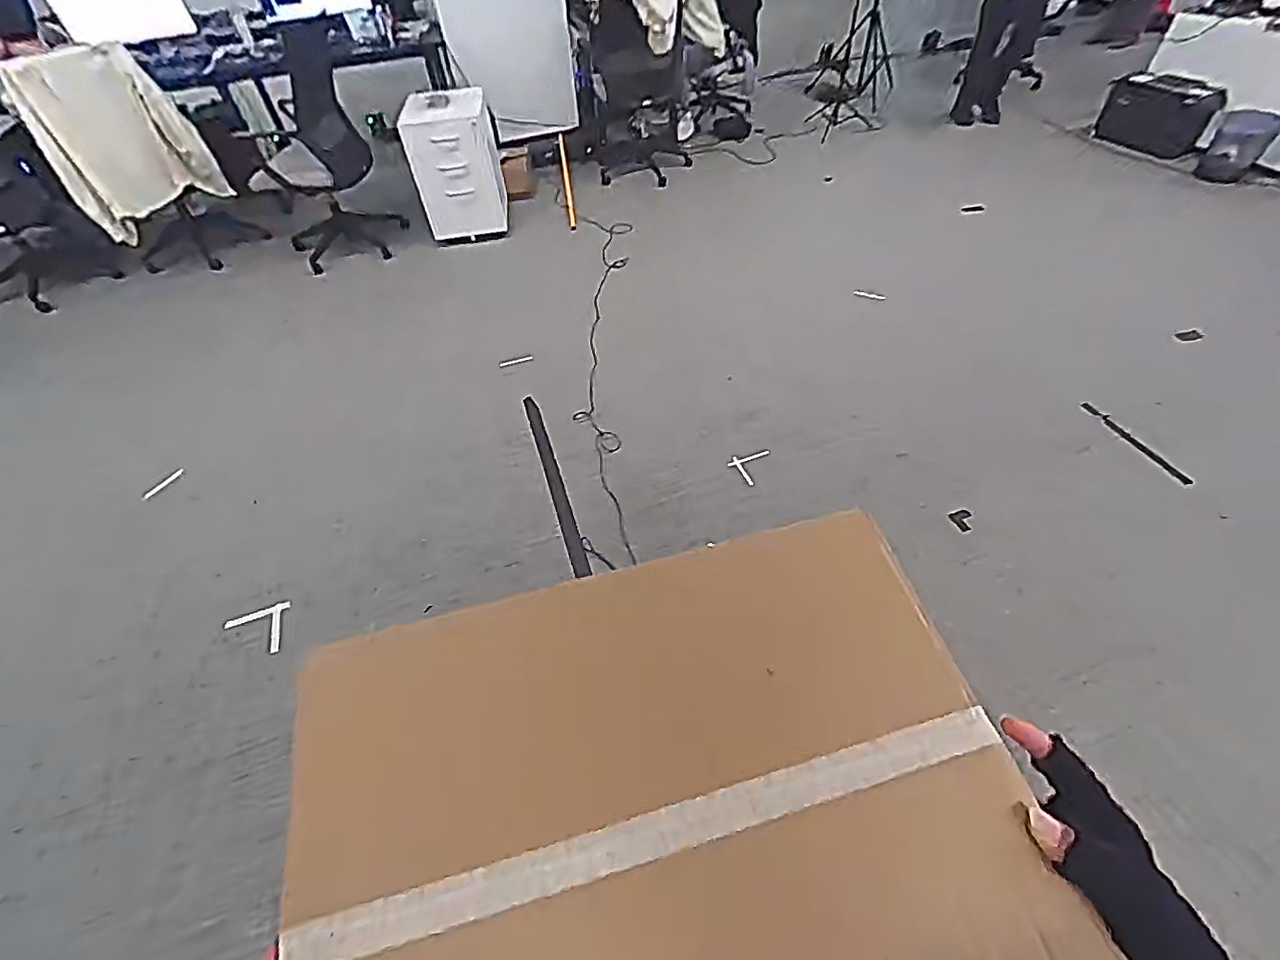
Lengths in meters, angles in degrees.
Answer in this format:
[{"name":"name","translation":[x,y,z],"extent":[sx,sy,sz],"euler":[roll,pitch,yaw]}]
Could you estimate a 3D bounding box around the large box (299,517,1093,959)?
[{"name":"large box","translation":[0.015,0.276,0.438],"extent":[0.408,0.320,0.320],"euler":[-14,57,-7]}]
